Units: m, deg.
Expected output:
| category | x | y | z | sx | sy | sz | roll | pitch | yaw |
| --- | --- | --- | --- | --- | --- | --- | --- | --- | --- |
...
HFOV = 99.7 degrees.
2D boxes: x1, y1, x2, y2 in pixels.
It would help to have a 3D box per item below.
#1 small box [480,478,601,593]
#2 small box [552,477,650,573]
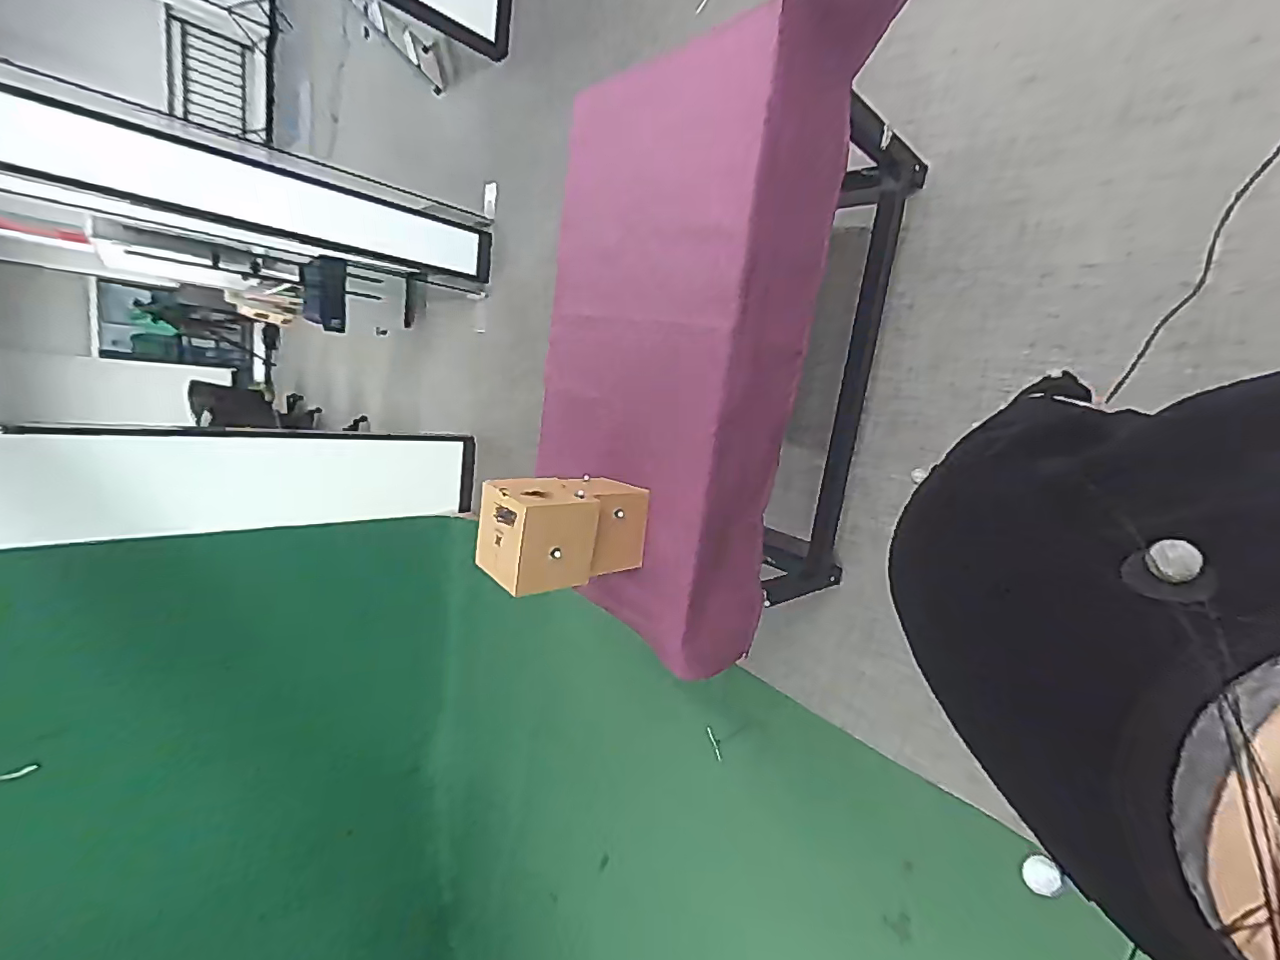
| category | x | y | z | sx | sy | sz | roll | pitch | yaw |
| --- | --- | --- | --- | --- | --- | --- | --- | --- | --- |
| small box | -0.196 | 0.098 | 1.072 | 0.168 | 0.176 | 0.179 | 24 | 109 | 44 |
| small box | -0.095 | 0.092 | 1.205 | 0.168 | 0.176 | 0.179 | 16 | 103 | 46 |
